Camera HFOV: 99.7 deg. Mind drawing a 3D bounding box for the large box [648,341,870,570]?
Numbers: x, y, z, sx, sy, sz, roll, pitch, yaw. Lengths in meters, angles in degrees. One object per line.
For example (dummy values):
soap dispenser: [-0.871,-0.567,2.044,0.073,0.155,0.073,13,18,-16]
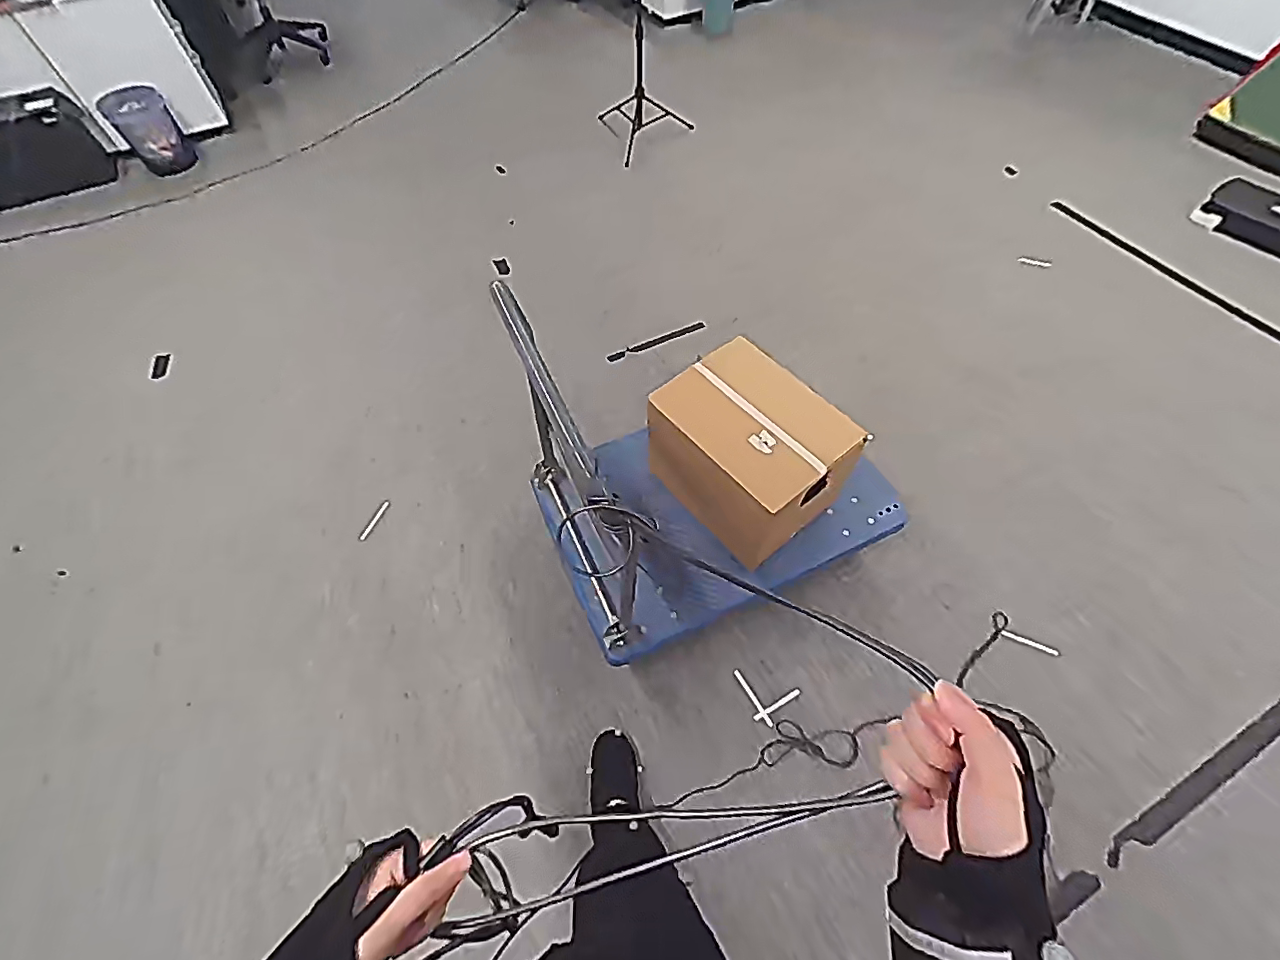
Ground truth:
large box: [0.261,-0.058,1.337,0.320,0.320,0.408,-36,65,-18]
